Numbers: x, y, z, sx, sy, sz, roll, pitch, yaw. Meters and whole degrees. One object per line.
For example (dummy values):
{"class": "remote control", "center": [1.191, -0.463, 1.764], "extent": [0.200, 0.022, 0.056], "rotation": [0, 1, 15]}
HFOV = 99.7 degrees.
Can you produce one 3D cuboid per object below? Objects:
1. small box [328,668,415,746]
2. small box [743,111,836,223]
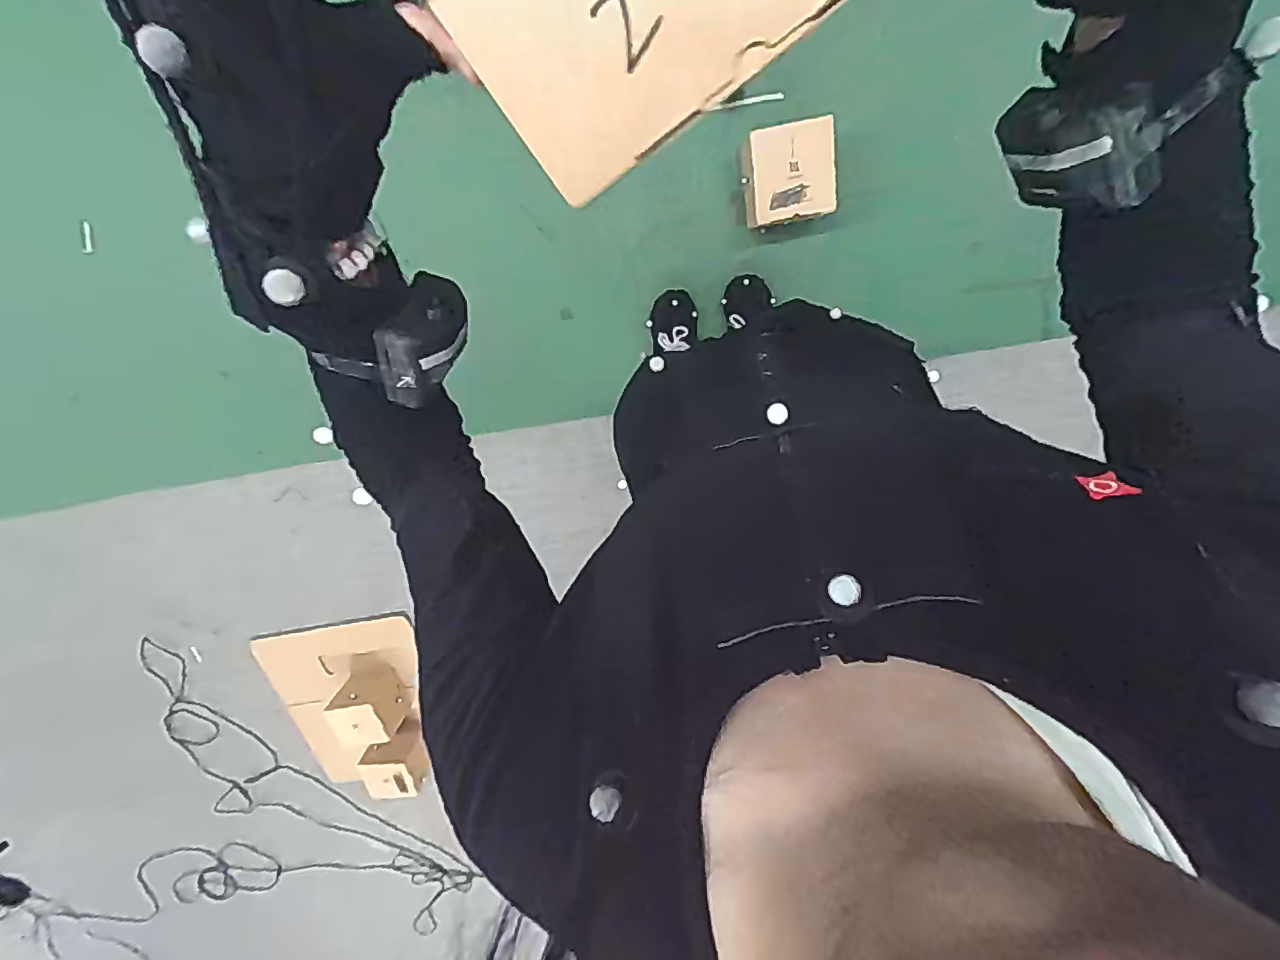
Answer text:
{"class": "small box", "center": [-0.905, 0.767, 1.838], "extent": [0.179, 0.176, 0.168], "rotation": [-13, 110, 8]}
{"class": "small box", "center": [0.320, -0.666, 1.173], "extent": [0.168, 0.176, 0.179], "rotation": [-8, 111, 7]}
